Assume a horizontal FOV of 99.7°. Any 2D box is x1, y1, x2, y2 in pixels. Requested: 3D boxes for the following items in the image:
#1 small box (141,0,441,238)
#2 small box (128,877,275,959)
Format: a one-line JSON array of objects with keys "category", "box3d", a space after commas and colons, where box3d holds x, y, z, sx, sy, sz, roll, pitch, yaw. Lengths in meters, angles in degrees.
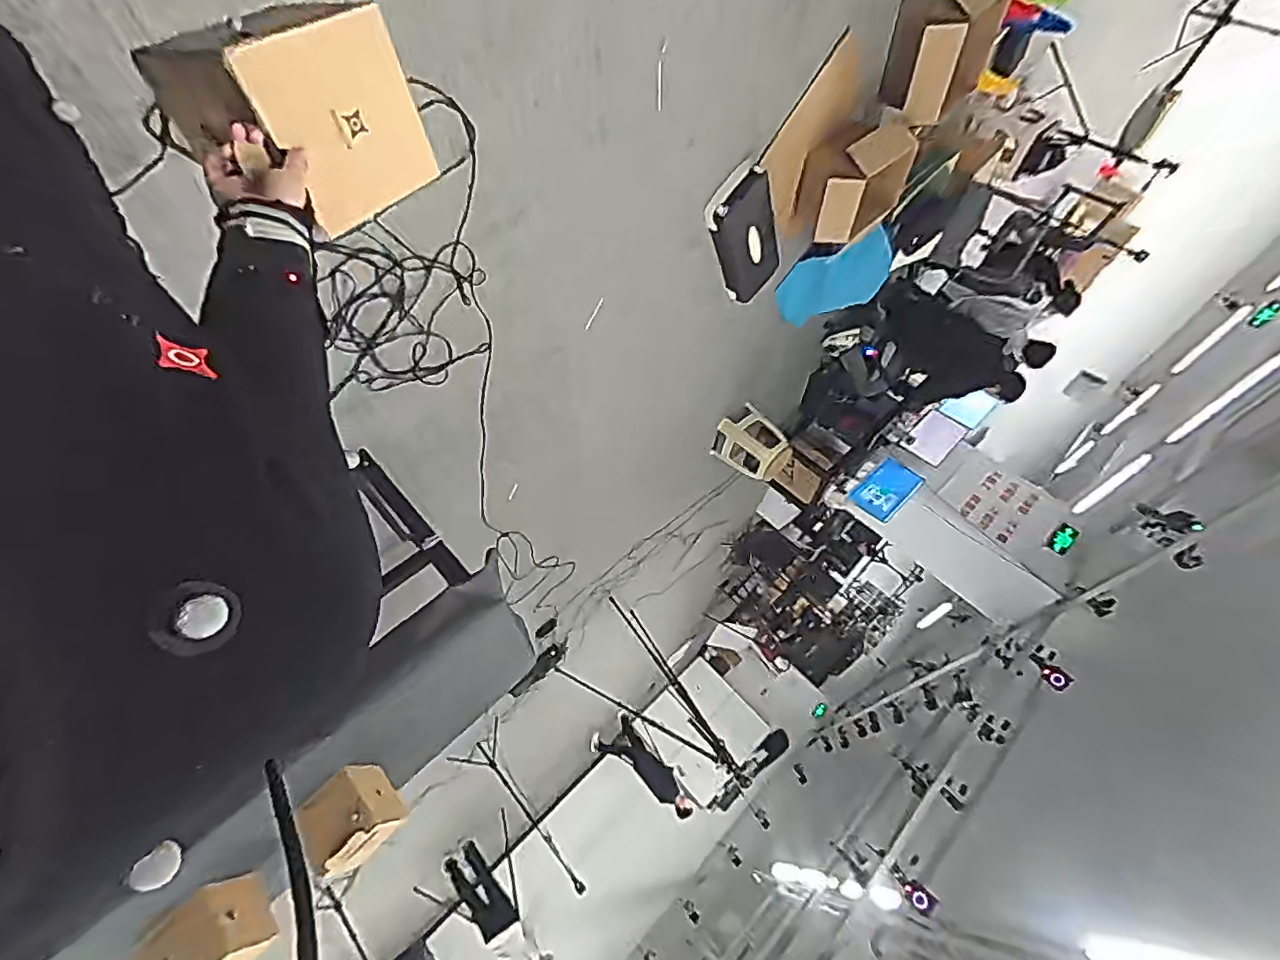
[{"category": "small box", "box3d": [-0.359, -0.392, 0.580, 0.179, 0.176, 0.168, -53, 154, -31]}, {"category": "small box", "box3d": [-0.993, 1.053, 1.229, 0.168, 0.176, 0.179, -41, 157, -16]}]
